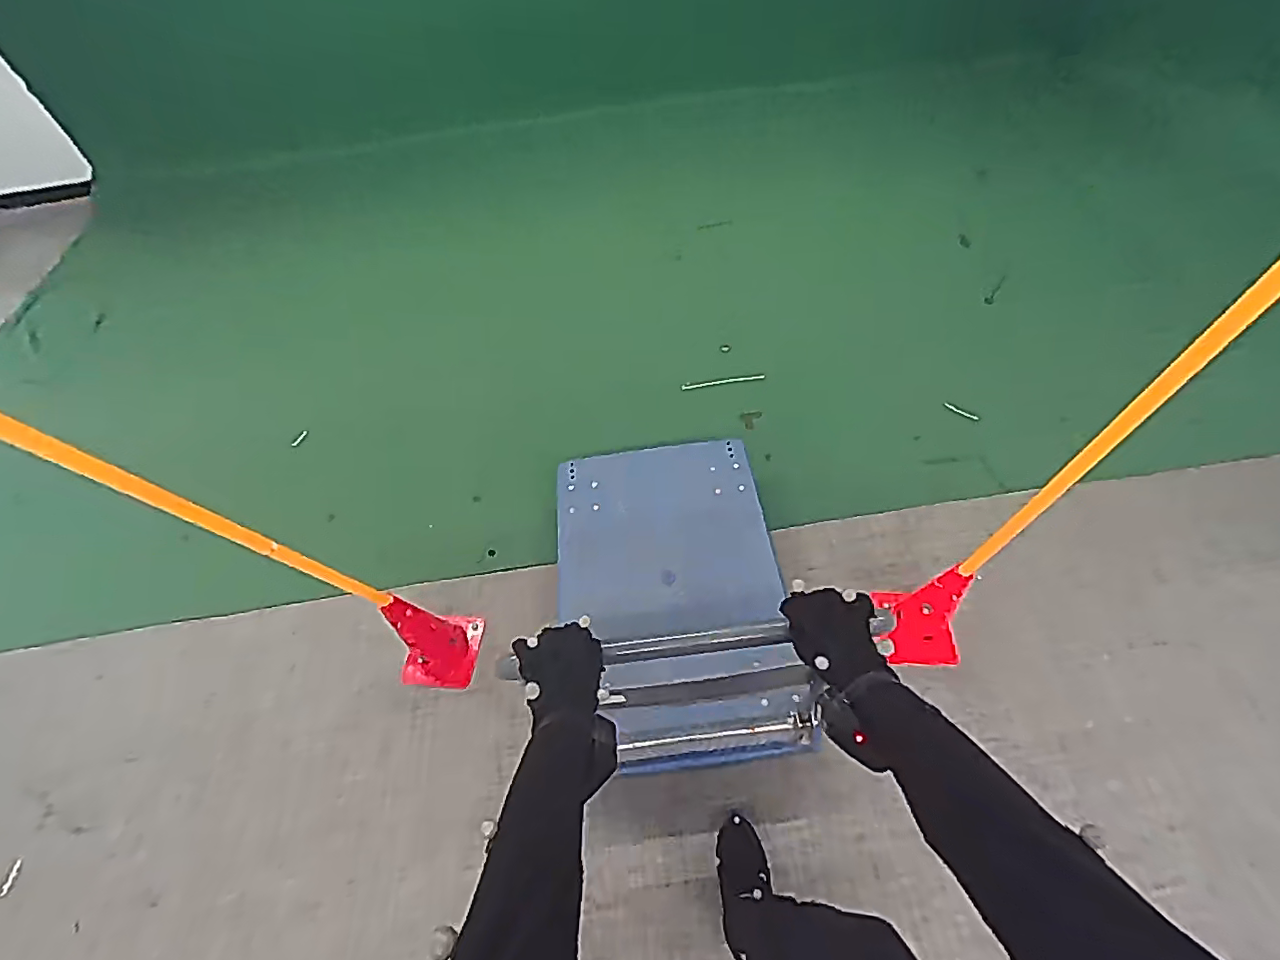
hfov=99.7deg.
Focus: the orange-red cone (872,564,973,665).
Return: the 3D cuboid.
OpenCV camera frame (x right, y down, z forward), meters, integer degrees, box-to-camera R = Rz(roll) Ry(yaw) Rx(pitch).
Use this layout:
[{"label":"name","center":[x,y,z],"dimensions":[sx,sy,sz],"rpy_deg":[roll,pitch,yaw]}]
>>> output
[{"label":"orange-red cone","center":[0.716,0.297,1.307],"dimensions":[0.198,0.360,0.199],"rpy_deg":[0,56,7]}]
